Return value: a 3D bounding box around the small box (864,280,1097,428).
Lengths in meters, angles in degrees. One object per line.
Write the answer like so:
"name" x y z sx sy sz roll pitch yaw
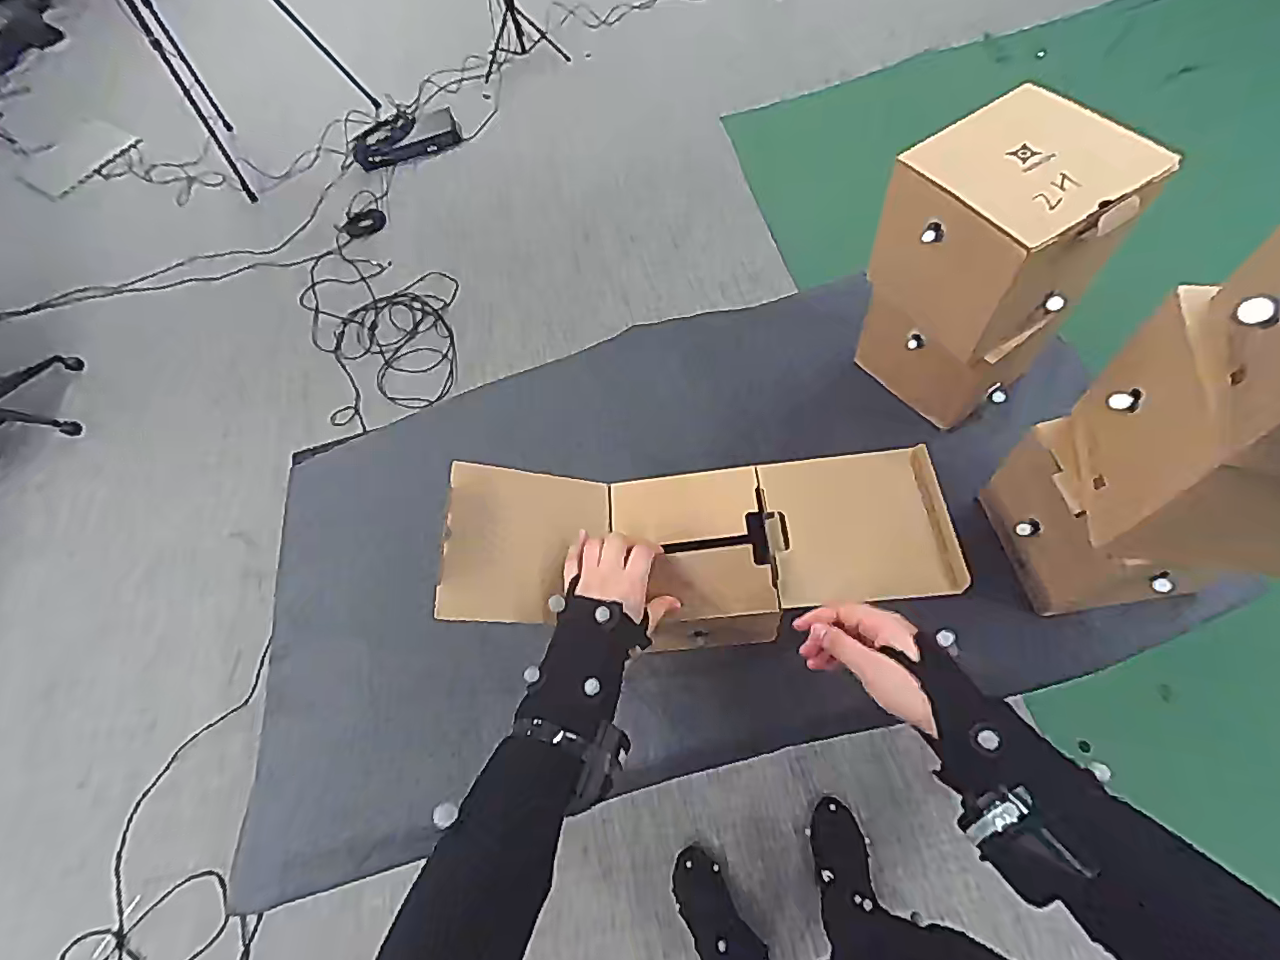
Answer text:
"small box" 0.430 -0.203 0.723 0.168 0.176 0.179 -36 64 -5

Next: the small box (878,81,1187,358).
"small box" 0.386 -0.267 0.578 0.168 0.176 0.179 -30 64 -2

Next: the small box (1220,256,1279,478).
"small box" 0.475 -0.087 0.282 0.179 0.176 0.168 17 66 20

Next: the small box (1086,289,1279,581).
"small box" 0.501 -0.029 0.436 0.179 0.176 0.168 8 63 15

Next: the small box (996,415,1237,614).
"small box" 0.523 0.036 0.585 0.179 0.176 0.168 -11 60 6
